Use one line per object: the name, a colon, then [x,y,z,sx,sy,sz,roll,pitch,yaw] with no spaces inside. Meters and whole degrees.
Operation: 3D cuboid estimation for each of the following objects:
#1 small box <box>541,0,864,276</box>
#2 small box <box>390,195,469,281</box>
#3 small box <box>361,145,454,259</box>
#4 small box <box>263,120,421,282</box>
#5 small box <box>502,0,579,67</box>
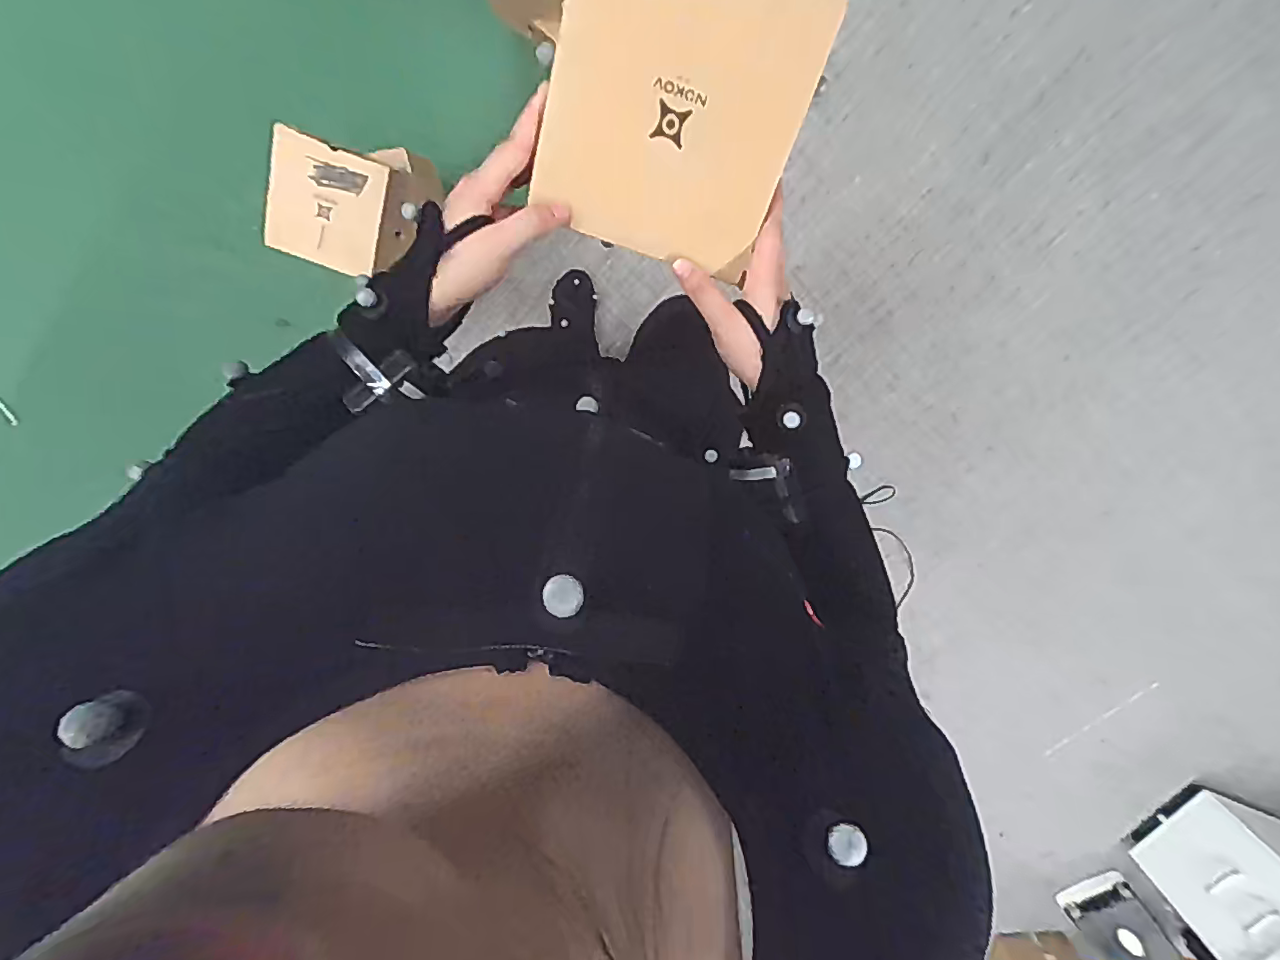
small box: [0.033,-0.284,0.417,0.168,0.176,0.179,15,120,-9]
small box: [-0.506,-0.563,1.190,0.168,0.176,0.179,-28,111,9]
small box: [-0.475,-0.516,1.034,0.168,0.176,0.179,-9,113,1]
small box: [-0.475,-0.446,0.886,0.168,0.176,0.179,18,112,-11]
small box: [-0.156,-0.940,1.040,0.179,0.176,0.168,32,108,-14]
